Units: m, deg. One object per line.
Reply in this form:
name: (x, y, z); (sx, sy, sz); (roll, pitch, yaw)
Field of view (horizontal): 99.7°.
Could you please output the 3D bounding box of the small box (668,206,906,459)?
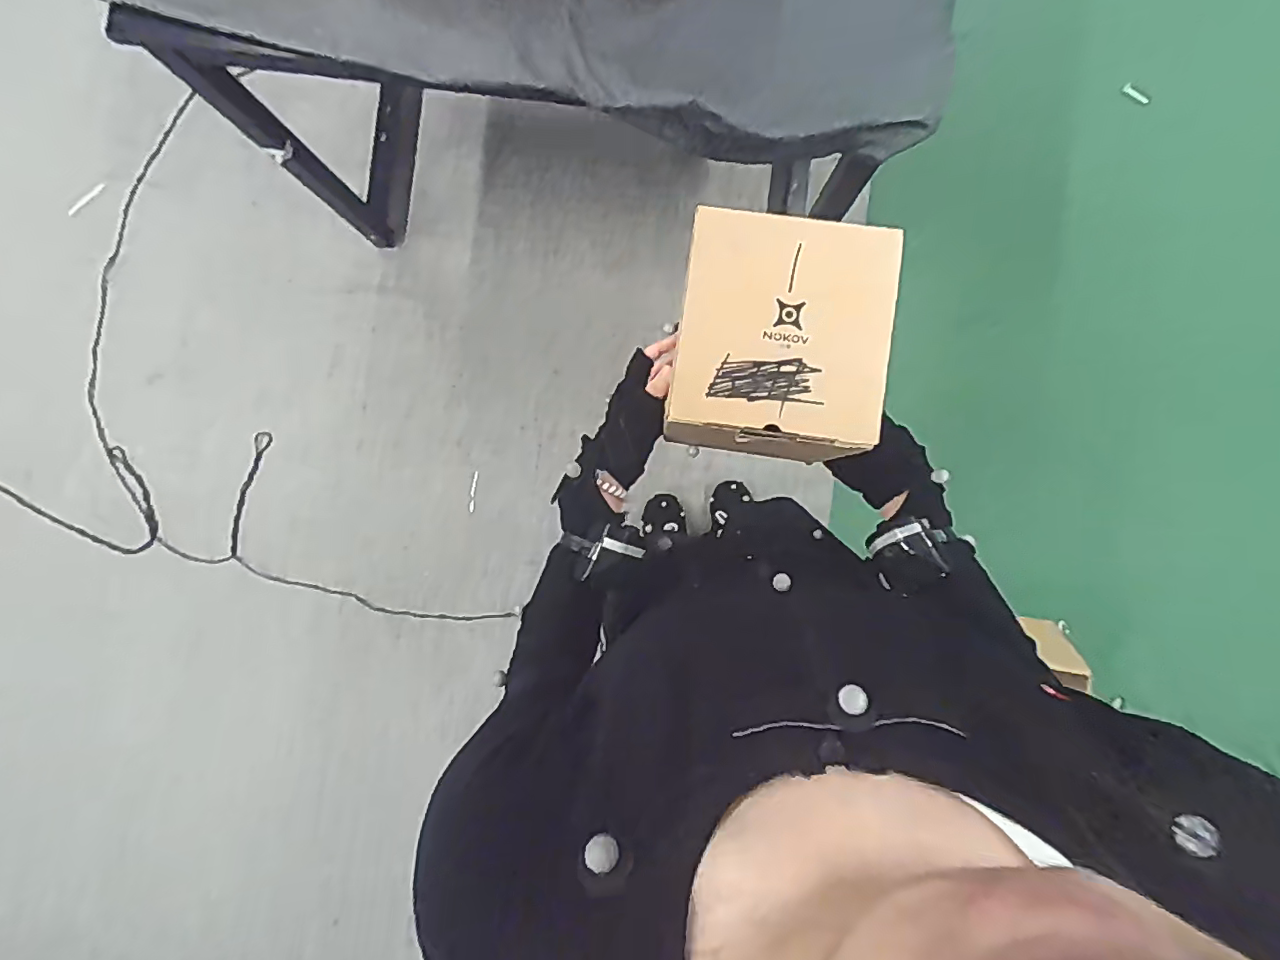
small box: (0.119, -0.119, 0.505); (0.168, 0.176, 0.179); (8, 88, 1)
